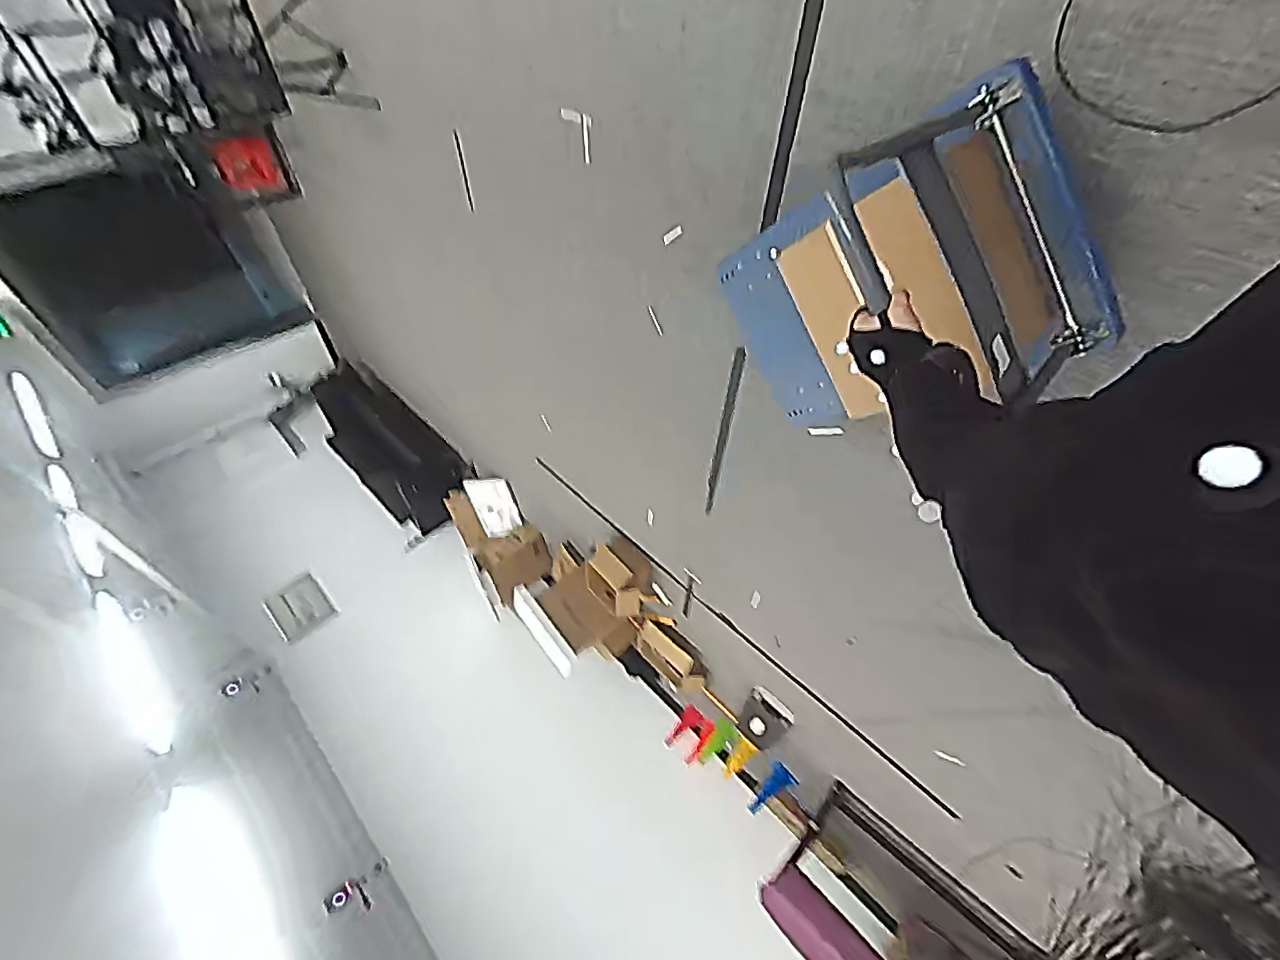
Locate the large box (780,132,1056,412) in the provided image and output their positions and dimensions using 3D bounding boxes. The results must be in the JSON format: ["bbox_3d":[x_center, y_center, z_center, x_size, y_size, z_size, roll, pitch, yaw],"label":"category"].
[{"bbox_3d":[0.576,-0.411,1.126,0.320,0.320,0.408,-11,111,59],"label":"large box"}]
